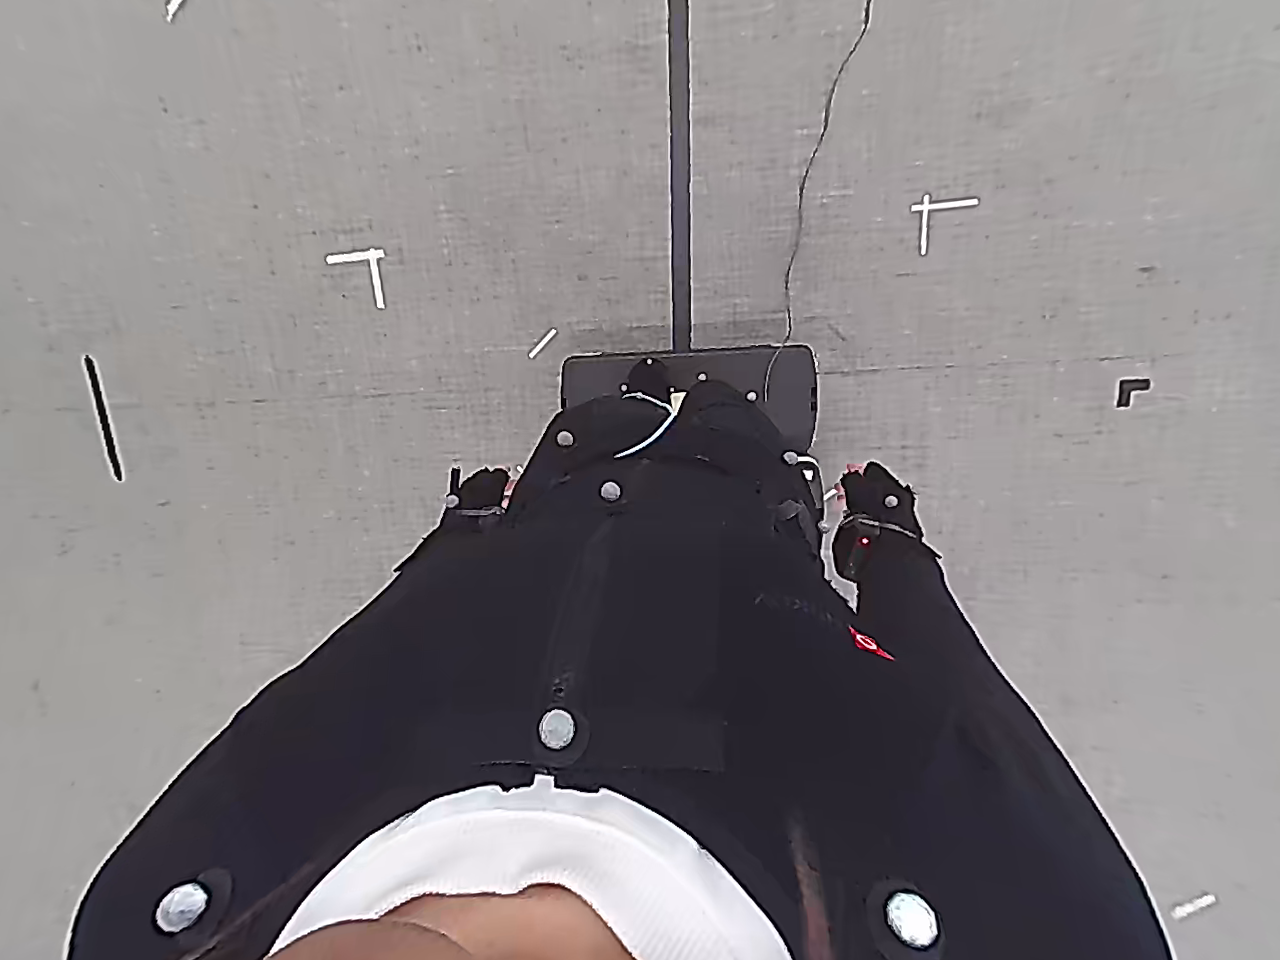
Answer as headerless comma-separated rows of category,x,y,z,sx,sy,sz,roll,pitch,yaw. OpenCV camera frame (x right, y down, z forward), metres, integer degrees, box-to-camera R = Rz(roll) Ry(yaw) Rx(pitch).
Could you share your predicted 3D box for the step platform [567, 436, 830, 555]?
step platform,0.148,0.044,1.449,0.684,0.204,0.286,-2,101,8
